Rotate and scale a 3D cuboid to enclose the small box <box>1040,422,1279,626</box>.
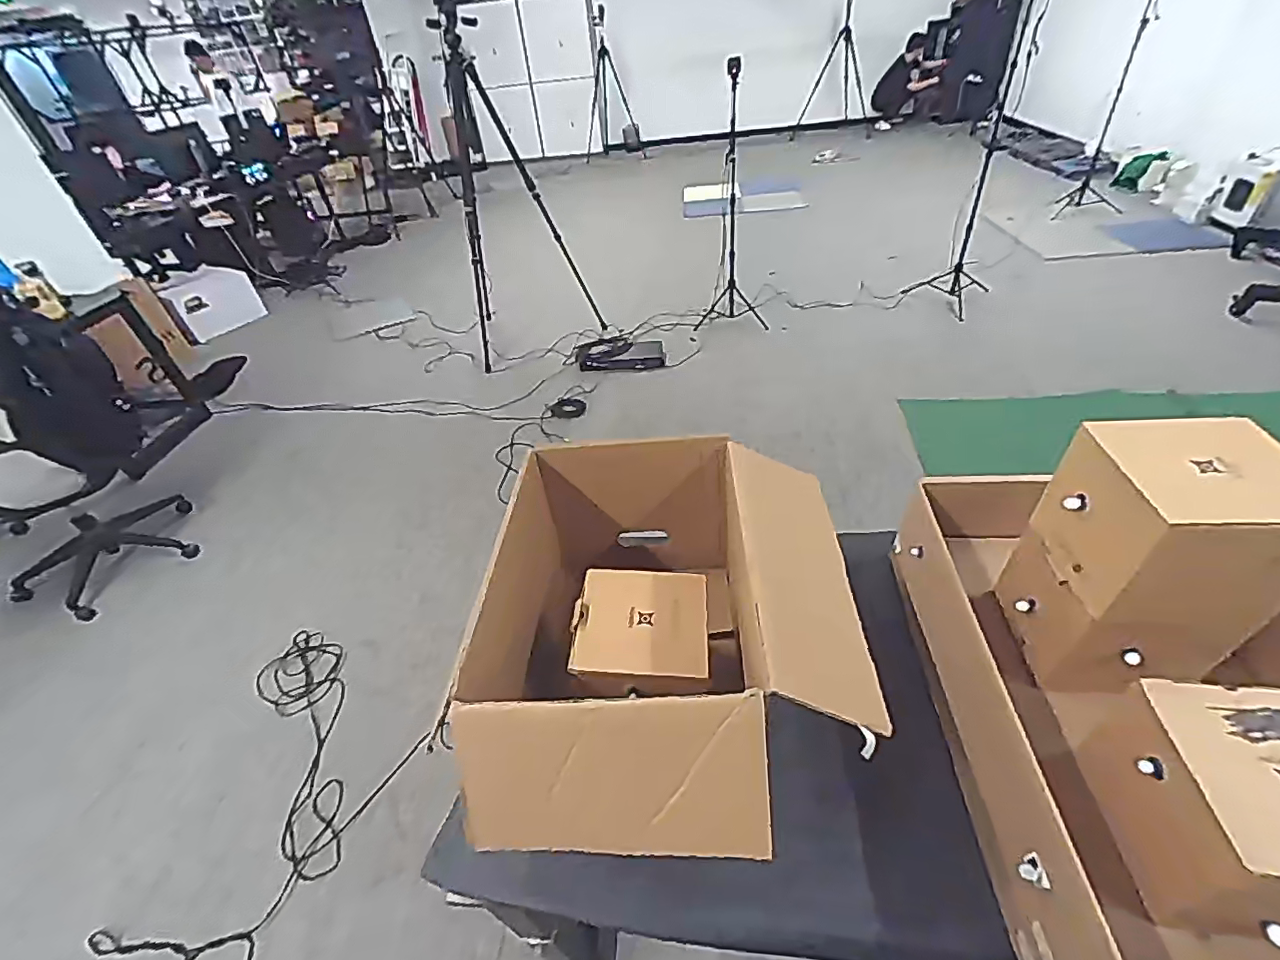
[{"bbox_3d":[0.599,0.051,0.616,0.179,0.176,0.168,-1,42,7],"label":"small box"}]
